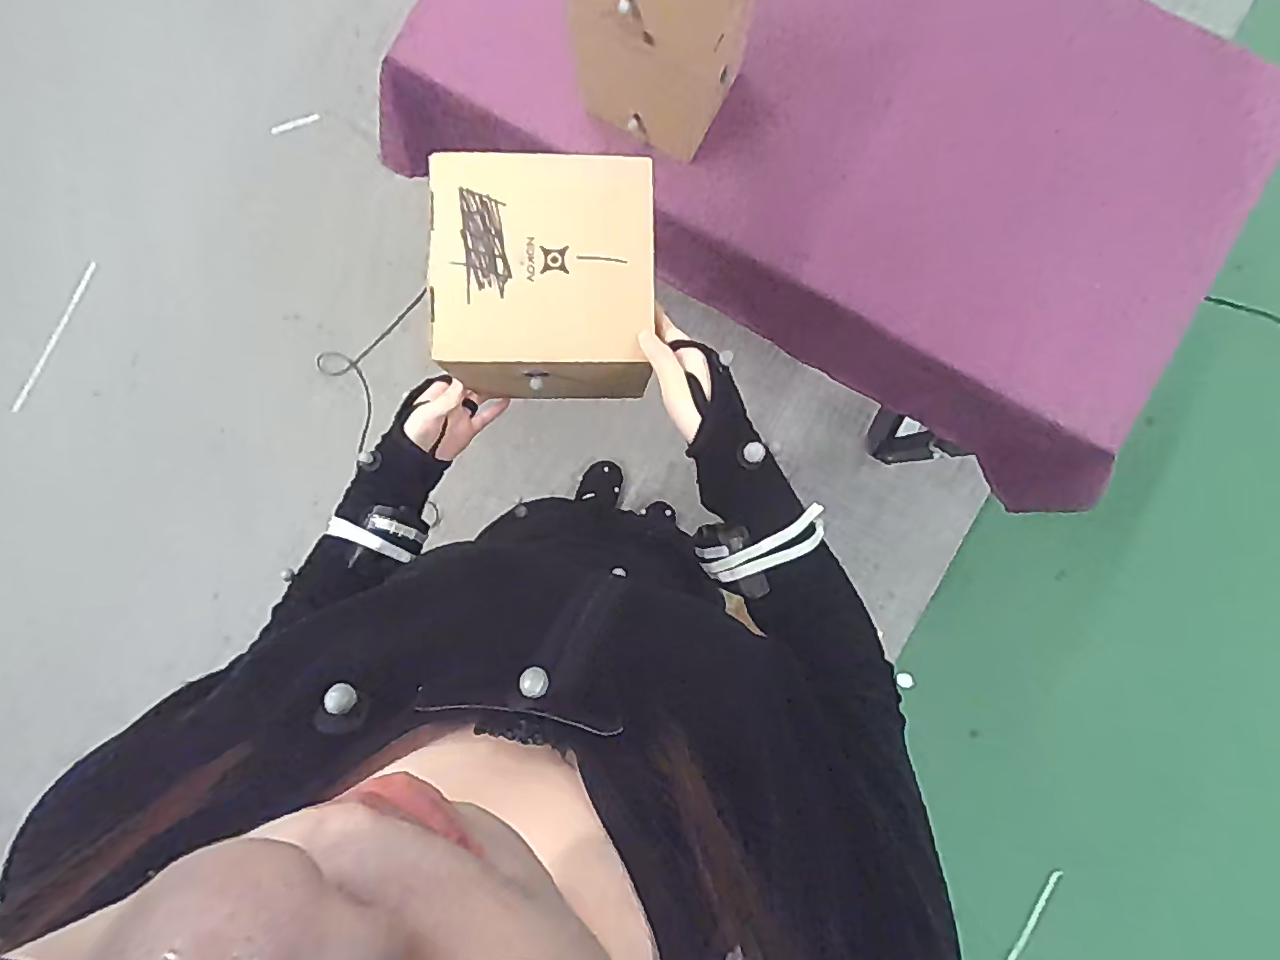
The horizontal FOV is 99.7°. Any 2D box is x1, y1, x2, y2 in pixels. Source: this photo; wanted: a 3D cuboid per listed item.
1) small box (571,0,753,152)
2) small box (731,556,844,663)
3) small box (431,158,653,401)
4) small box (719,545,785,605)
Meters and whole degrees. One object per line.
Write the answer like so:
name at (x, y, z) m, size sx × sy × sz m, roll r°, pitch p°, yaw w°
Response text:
small box at (0.032, -0.575, 0.708) m, size 0.179 × 0.176 × 0.168 m, roll 28°, pitch 89°, yaw 0°
small box at (0.333, 0.291, 1.266) m, size 0.179 × 0.176 × 0.168 m, roll 31°, pitch 91°, yaw -1°
small box at (-0.081, -0.170, 0.509) m, size 0.179 × 0.176 × 0.168 m, roll 0°, pitch 89°, yaw -4°
small box at (0.327, 0.286, 1.429) m, size 0.179 × 0.176 × 0.168 m, roll 34°, pitch 90°, yaw 0°
